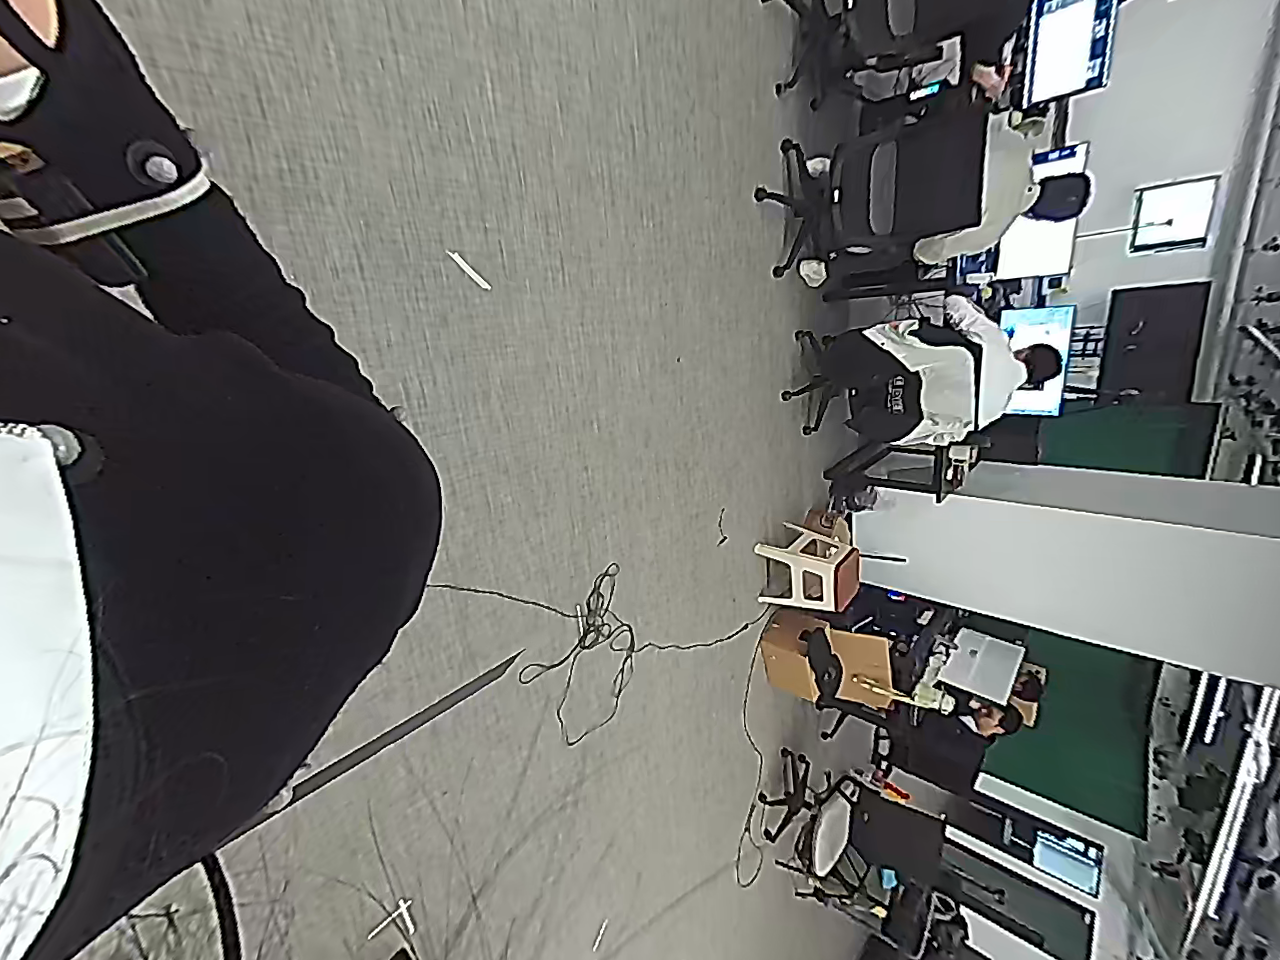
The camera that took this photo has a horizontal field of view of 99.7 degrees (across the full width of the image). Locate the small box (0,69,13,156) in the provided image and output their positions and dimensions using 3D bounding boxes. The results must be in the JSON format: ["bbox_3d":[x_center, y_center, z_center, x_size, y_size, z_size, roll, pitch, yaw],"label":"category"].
[{"bbox_3d":[-0.651,-0.384,0.432,0.168,0.176,0.179,-16,111,-49],"label":"small box"}]

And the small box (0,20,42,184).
[{"bbox_3d":[-0.766,-0.414,0.548,0.179,0.176,0.168,-21,114,-46],"label":"small box"}]
